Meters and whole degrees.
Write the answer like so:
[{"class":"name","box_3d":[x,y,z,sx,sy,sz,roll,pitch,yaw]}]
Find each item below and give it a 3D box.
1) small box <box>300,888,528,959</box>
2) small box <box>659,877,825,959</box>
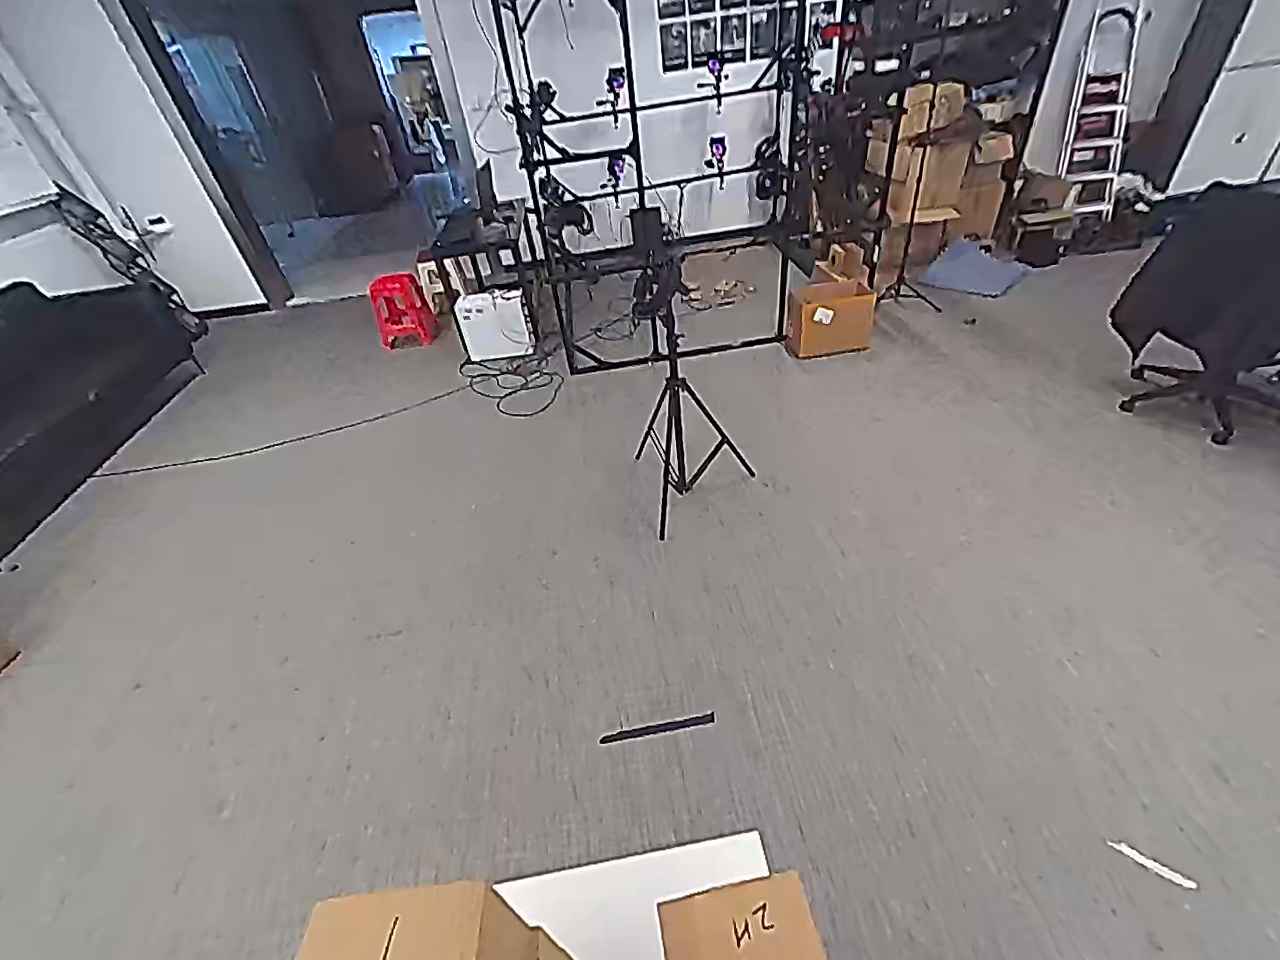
[{"class":"small box","box_3d":[-0.205,0.504,0.487,0.168,0.176,0.179,-8,38,1]},{"class":"small box","box_3d":[0.124,0.578,0.594,0.168,0.176,0.179,-12,39,-3]}]
